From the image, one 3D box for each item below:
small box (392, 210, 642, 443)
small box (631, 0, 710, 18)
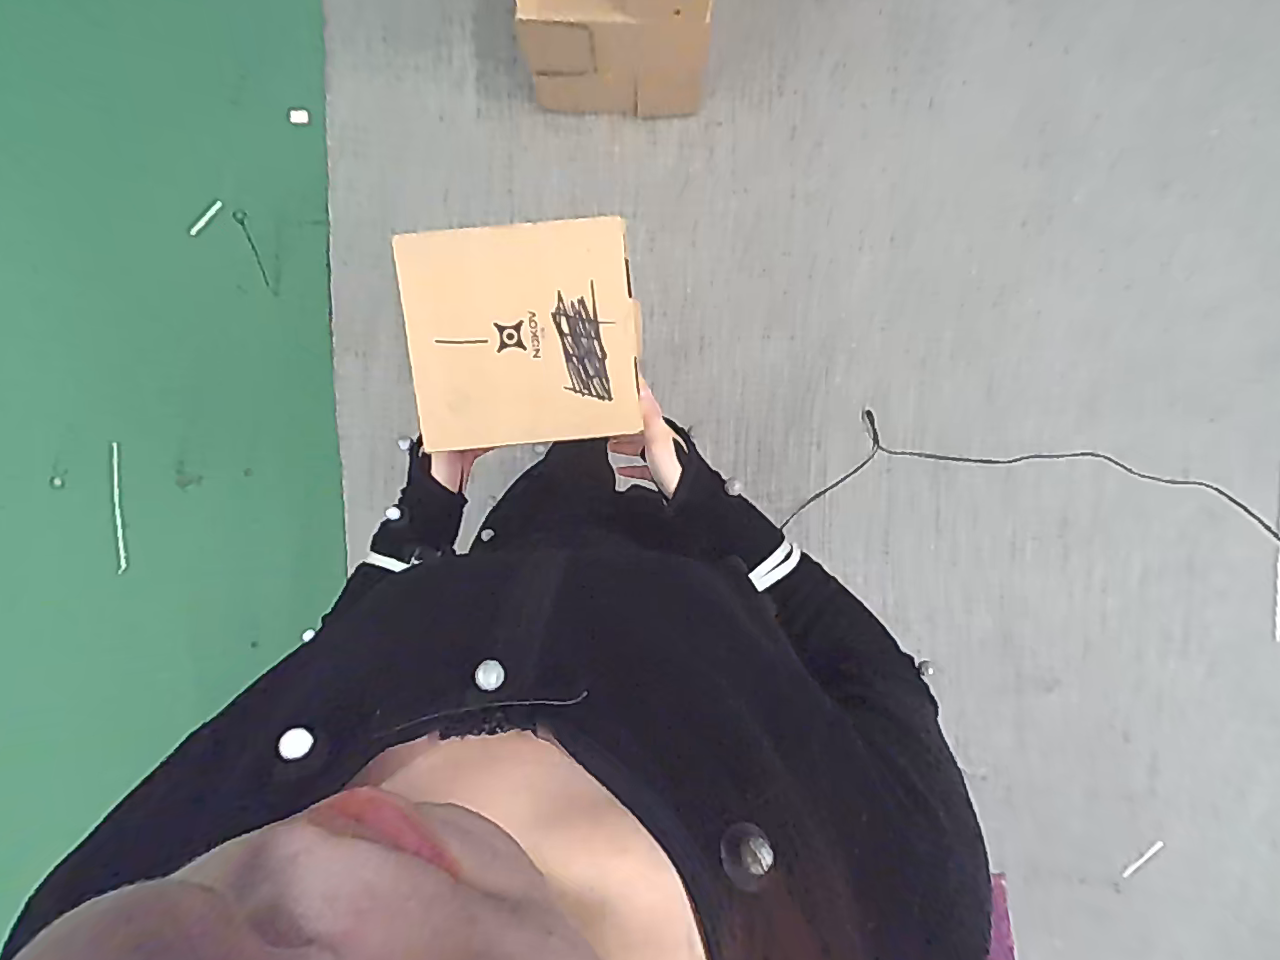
[{"bbox_3d":[-0.094,-0.128,0.493,0.179,0.176,0.168,-5,99,-1],"label":"small box"},{"bbox_3d":[0.063,-1.013,1.004,0.168,0.176,0.179,7,92,0],"label":"small box"}]
